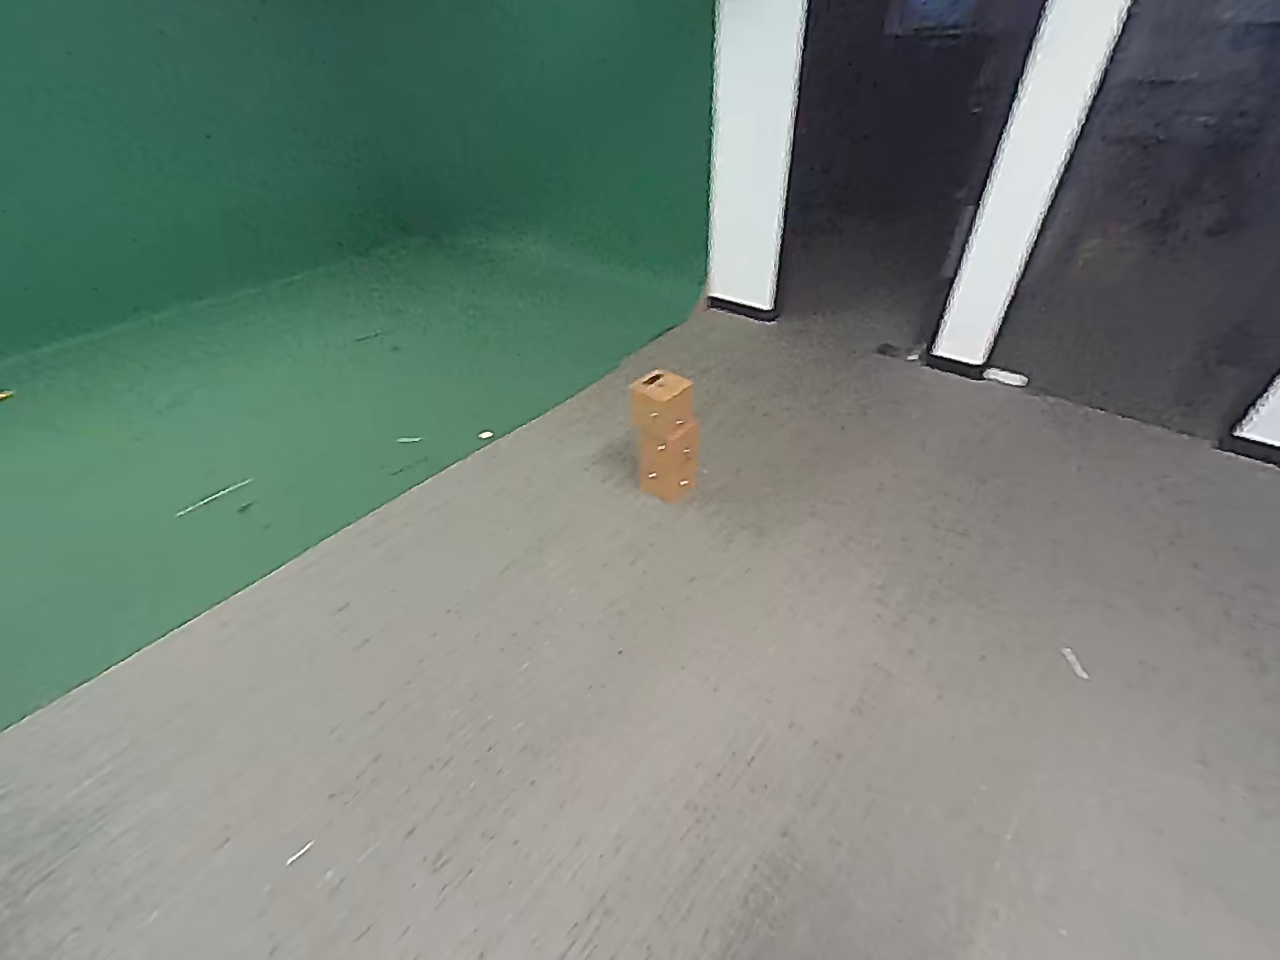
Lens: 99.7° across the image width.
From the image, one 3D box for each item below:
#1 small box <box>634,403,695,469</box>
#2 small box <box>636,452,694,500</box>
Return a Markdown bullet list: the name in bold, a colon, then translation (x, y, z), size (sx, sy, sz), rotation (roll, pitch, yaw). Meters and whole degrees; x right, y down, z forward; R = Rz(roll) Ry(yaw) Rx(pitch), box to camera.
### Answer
- **small box**: translation (0.098, -0.165, 2.095), size (0.179, 0.176, 0.168), rotation (27, 50, 30)
- **small box**: translation (0.105, -0.044, 2.208), size (0.179, 0.176, 0.168), rotation (26, 50, 30)
